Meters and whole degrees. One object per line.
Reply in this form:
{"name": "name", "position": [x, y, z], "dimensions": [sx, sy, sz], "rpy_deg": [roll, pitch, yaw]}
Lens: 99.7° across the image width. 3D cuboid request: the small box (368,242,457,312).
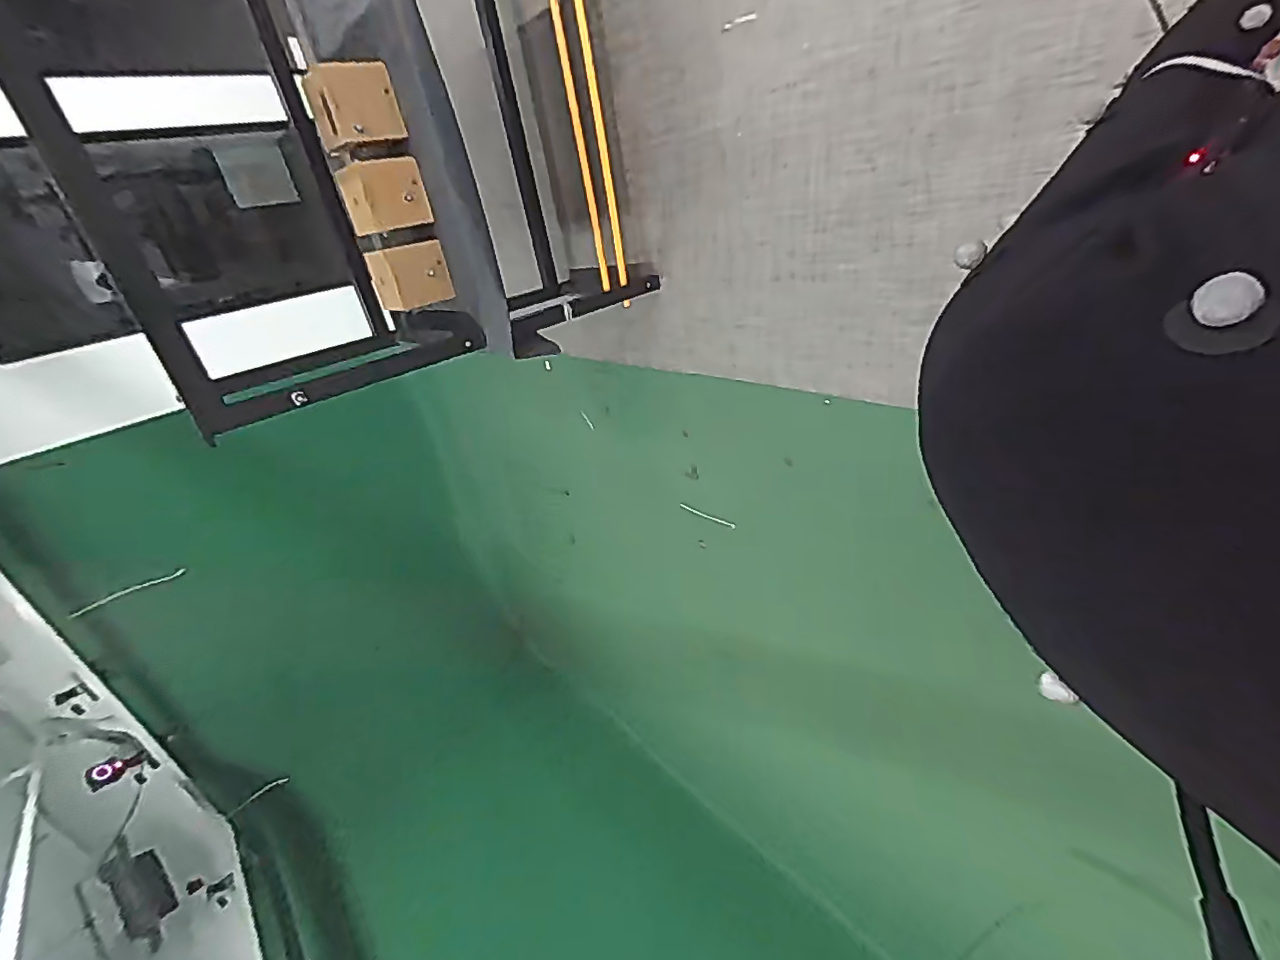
{"name": "small box", "position": [-0.677, -0.609, 1.618], "dimensions": [0.179, 0.176, 0.168], "rpy_deg": [19, 129, 45]}
